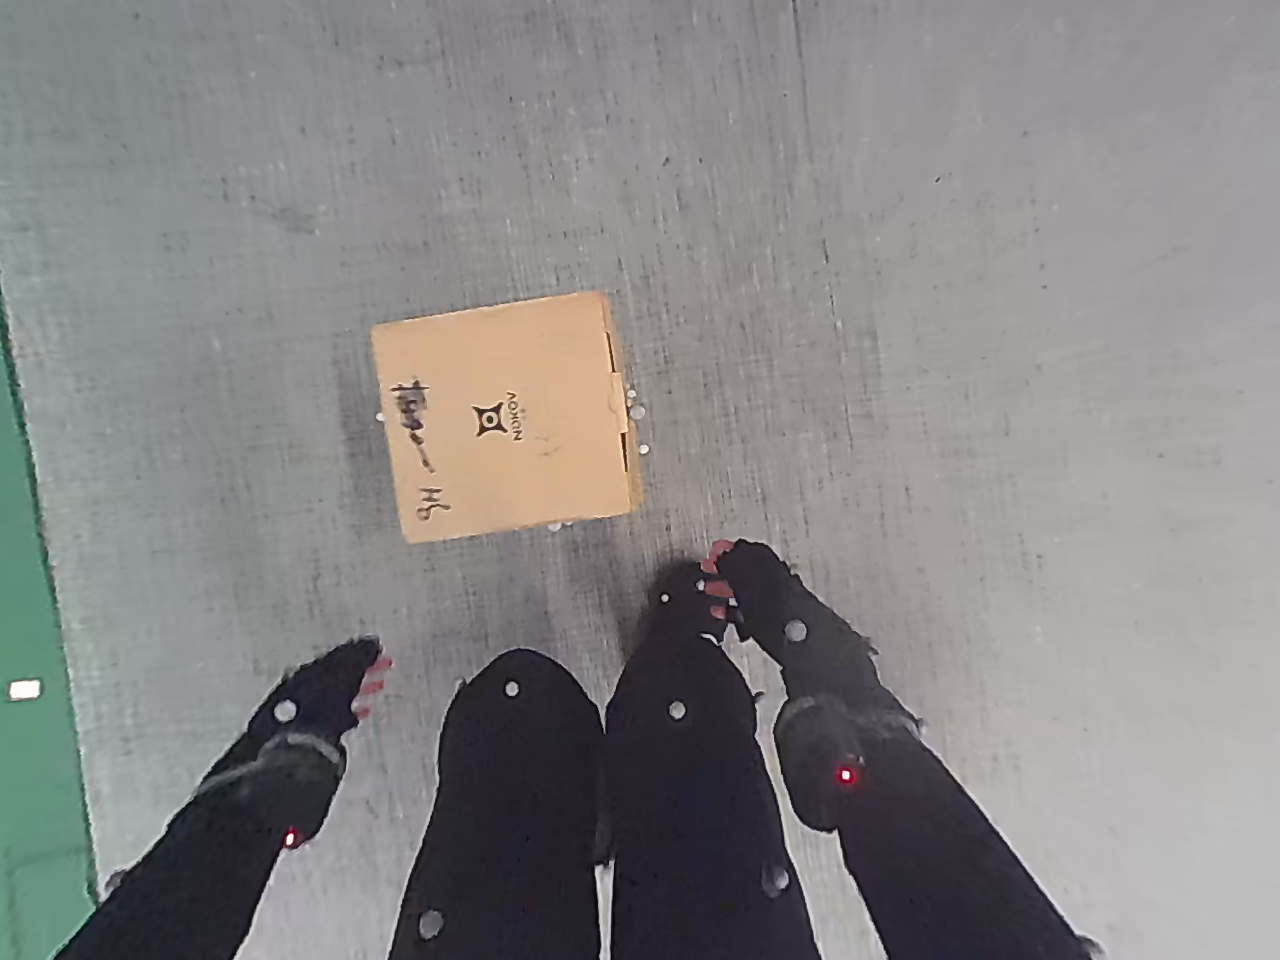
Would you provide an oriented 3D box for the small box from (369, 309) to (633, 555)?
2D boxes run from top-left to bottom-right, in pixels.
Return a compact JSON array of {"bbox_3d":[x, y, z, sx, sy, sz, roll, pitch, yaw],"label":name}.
[{"bbox_3d":[-0.101,-0.037,0.476,0.179,0.176,0.168,-8,91,3],"label":"small box"}]
